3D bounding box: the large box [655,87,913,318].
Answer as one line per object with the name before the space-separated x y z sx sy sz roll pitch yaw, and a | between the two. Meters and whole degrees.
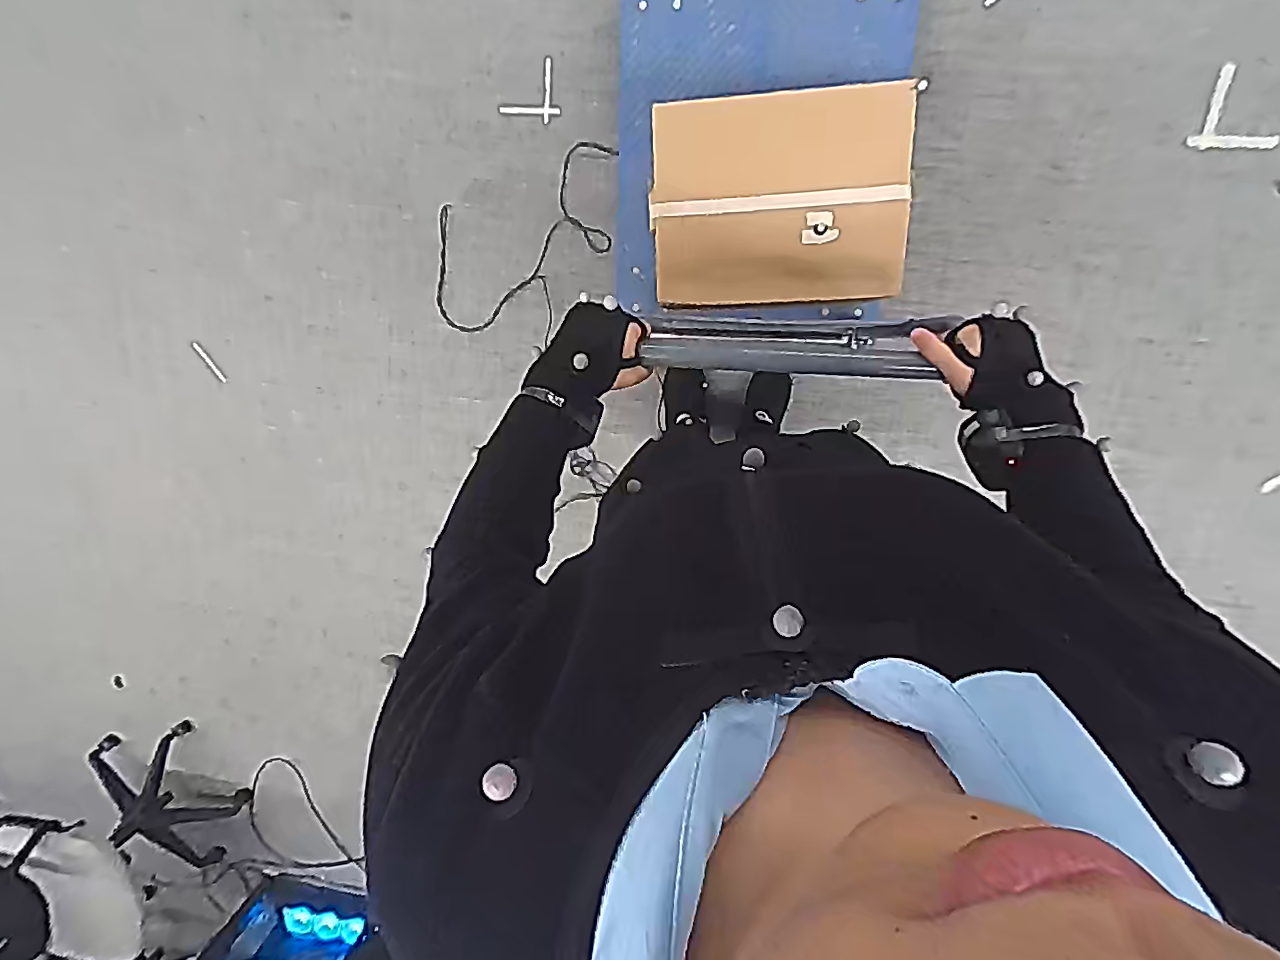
large box | 0.244 -0.486 1.029 0.408 0.320 0.320 -1 105 7
